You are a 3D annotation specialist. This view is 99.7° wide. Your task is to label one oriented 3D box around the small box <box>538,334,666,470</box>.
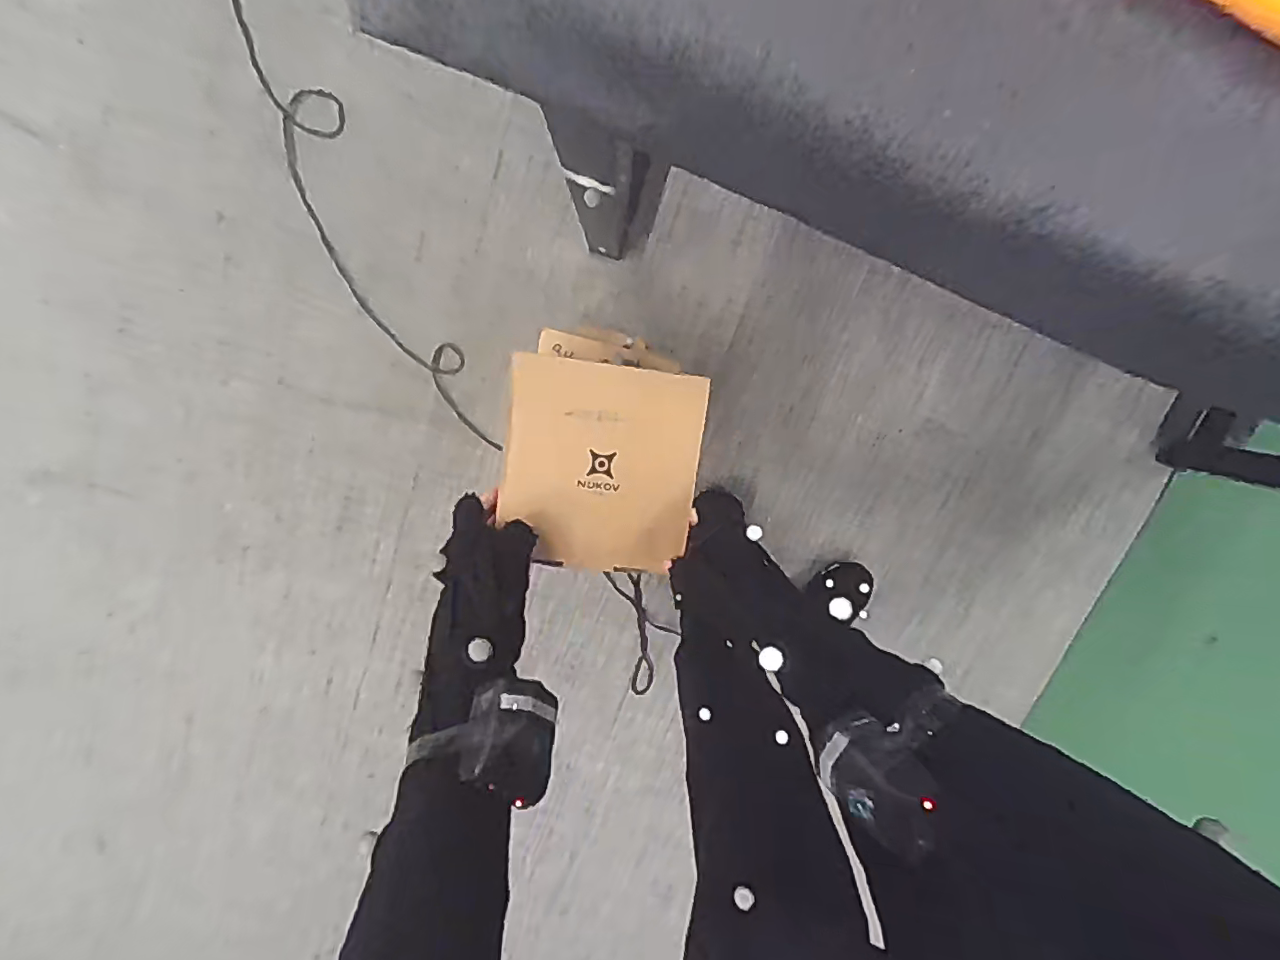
[{"bbox_3d":[-0.061,-0.132,0.875,0.168,0.176,0.179,11,104,-5],"label":"small box"}]
